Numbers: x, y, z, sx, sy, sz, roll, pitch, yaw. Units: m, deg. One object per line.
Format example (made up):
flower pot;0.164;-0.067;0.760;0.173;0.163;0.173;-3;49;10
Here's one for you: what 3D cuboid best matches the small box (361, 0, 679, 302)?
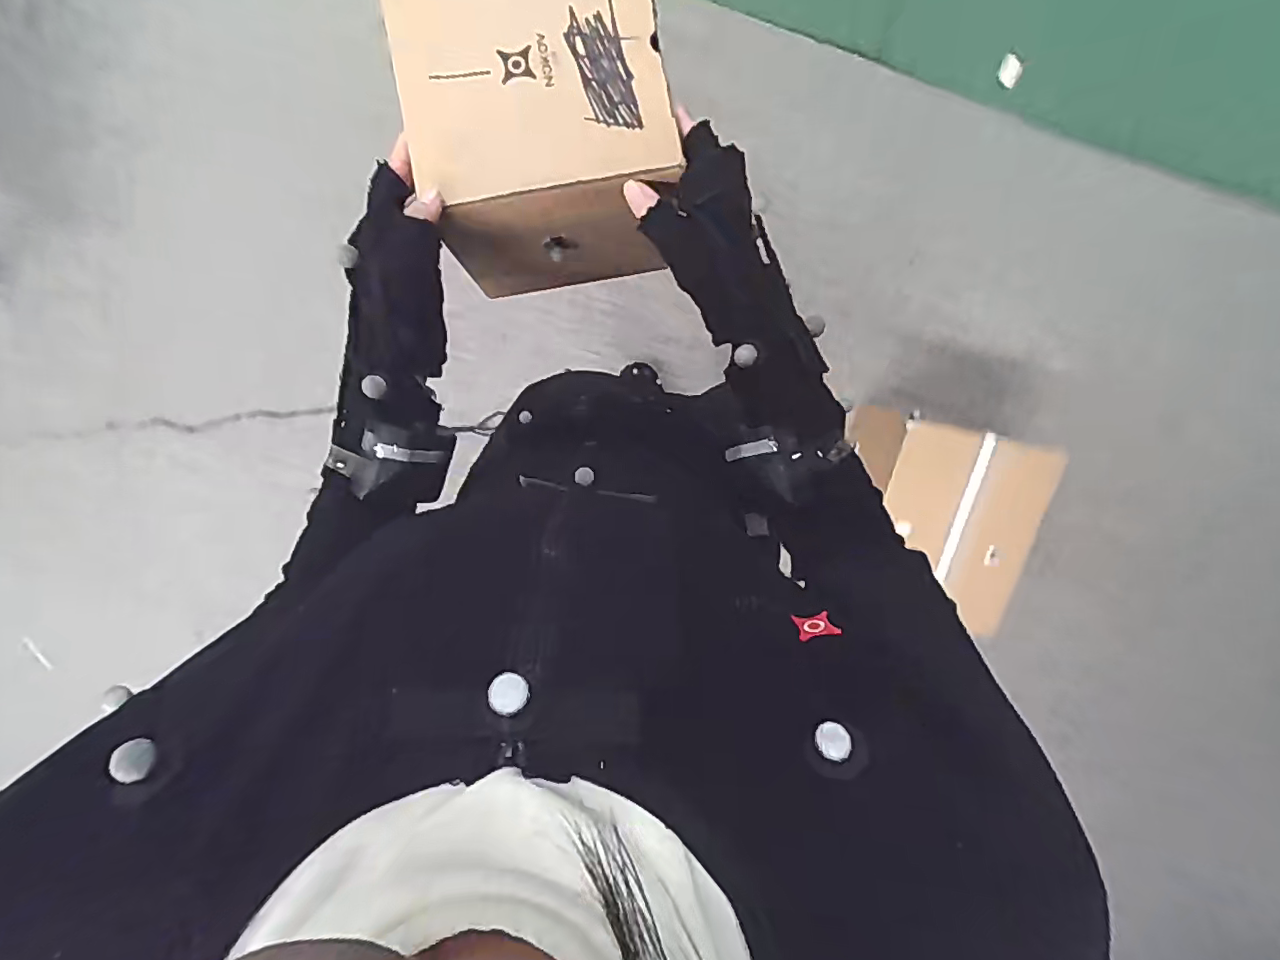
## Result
small box;-0.080;-0.260;0.424;0.179;0.176;0.168;-14;90;-1
